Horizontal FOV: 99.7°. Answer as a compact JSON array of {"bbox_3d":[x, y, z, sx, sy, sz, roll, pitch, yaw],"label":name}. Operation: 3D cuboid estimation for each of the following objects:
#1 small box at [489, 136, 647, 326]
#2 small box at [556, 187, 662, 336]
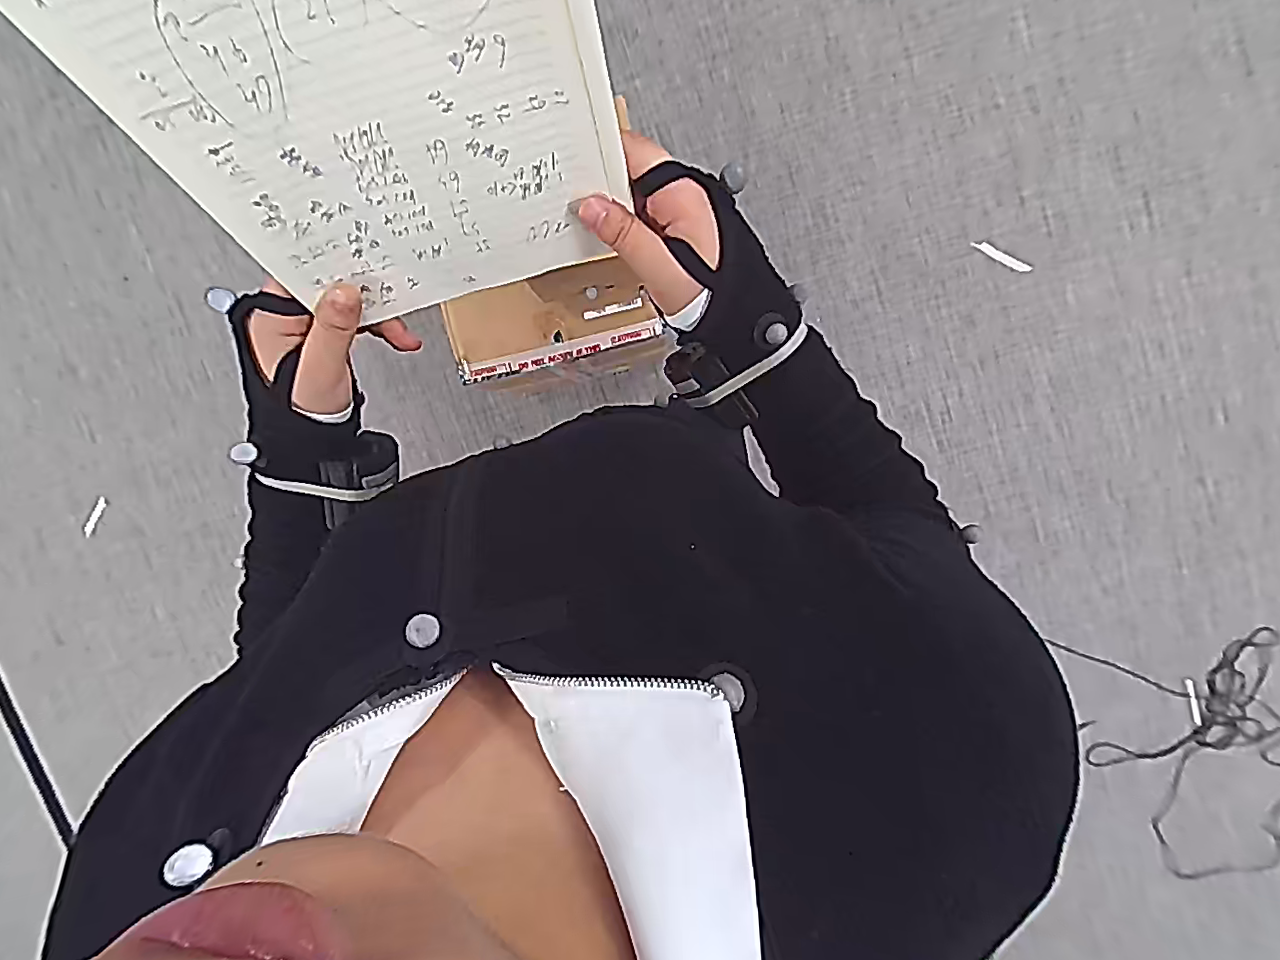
[{"bbox_3d":[-0.088,-0.320,0.731,0.168,0.176,0.179,-11,98,1],"label":"small box"},{"bbox_3d":[-0.070,-0.348,0.893,0.179,0.176,0.168,-15,97,2],"label":"small box"}]
